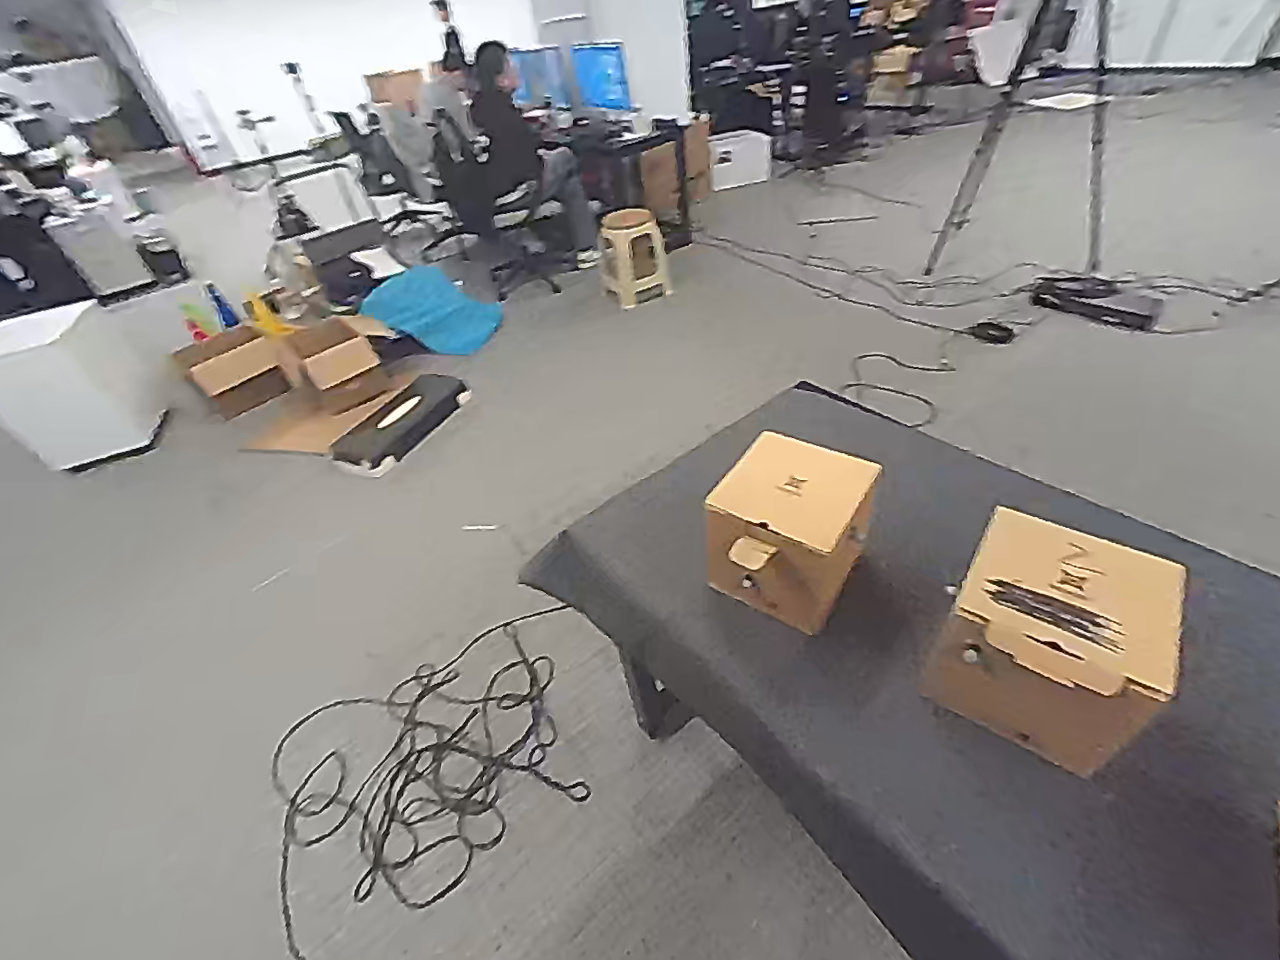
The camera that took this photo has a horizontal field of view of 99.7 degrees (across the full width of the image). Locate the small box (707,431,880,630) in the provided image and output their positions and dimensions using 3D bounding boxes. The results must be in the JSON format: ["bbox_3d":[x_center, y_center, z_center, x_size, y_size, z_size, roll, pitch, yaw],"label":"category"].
[{"bbox_3d":[0.203,0.066,0.740,0.168,0.176,0.179,22,50,30],"label":"small box"}]
